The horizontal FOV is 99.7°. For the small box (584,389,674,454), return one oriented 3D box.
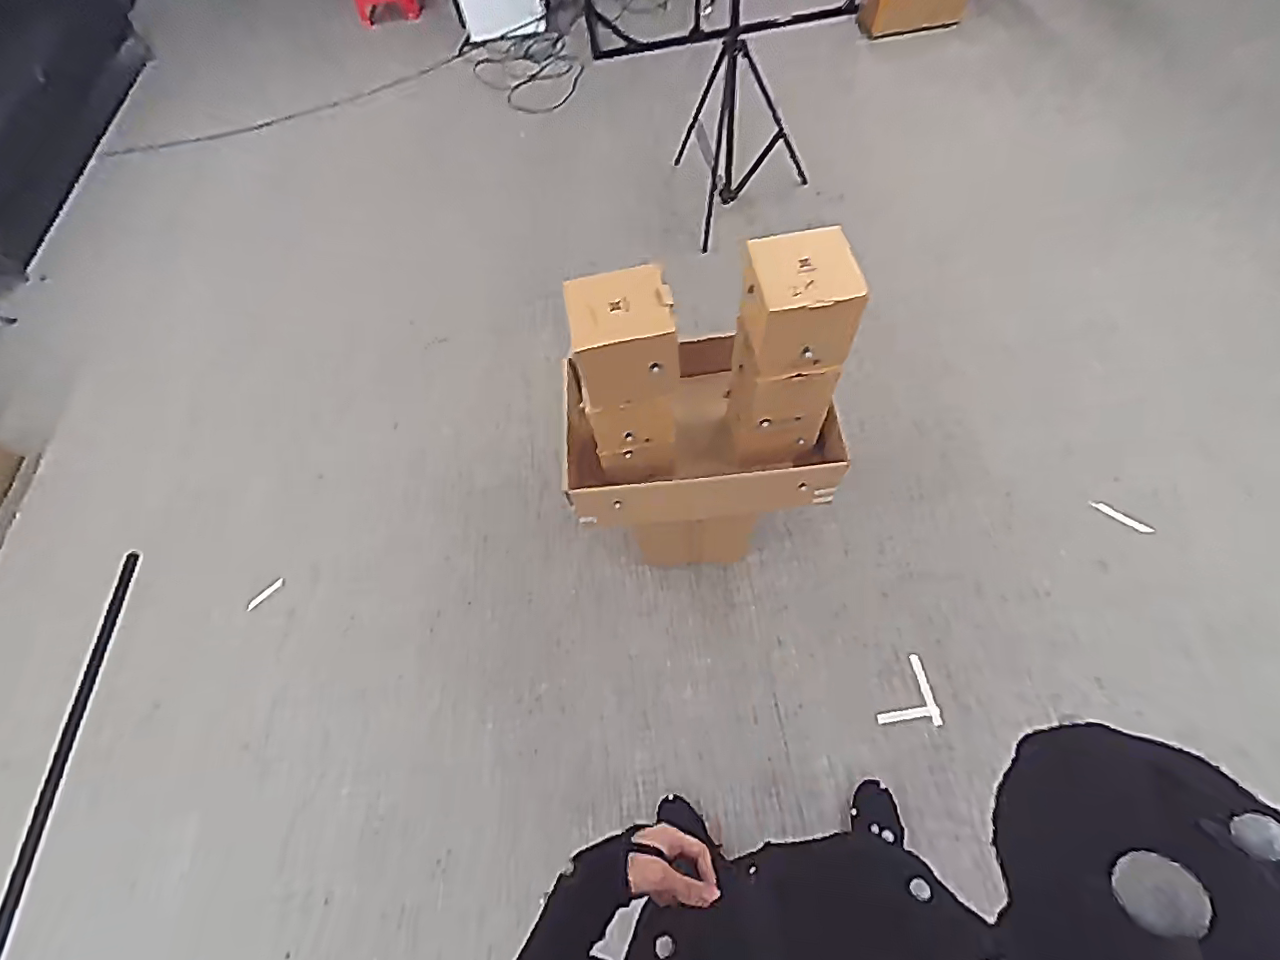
[{"bbox_3d":[-0.026,-0.179,1.119,0.168,0.176,0.179,-12,64,0],"label":"small box"}]

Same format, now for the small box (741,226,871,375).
[{"bbox_3d":[0.282,-0.316,0.965,0.168,0.176,0.179,-9,63,1],"label":"small box"}]

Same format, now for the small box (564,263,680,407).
[{"bbox_3d":[-0.028,-0.253,0.972,0.179,0.176,0.168,-11,63,0],"label":"small box"}]

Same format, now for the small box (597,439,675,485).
[{"bbox_3d":[-0.012,-0.111,1.266,0.168,0.176,0.179,-9,62,2],"label":"small box"}]

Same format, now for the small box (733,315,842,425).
[{"bbox_3d":[0.290,-0.227,1.104,0.168,0.176,0.179,-9,62,1],"label":"small box"}]
